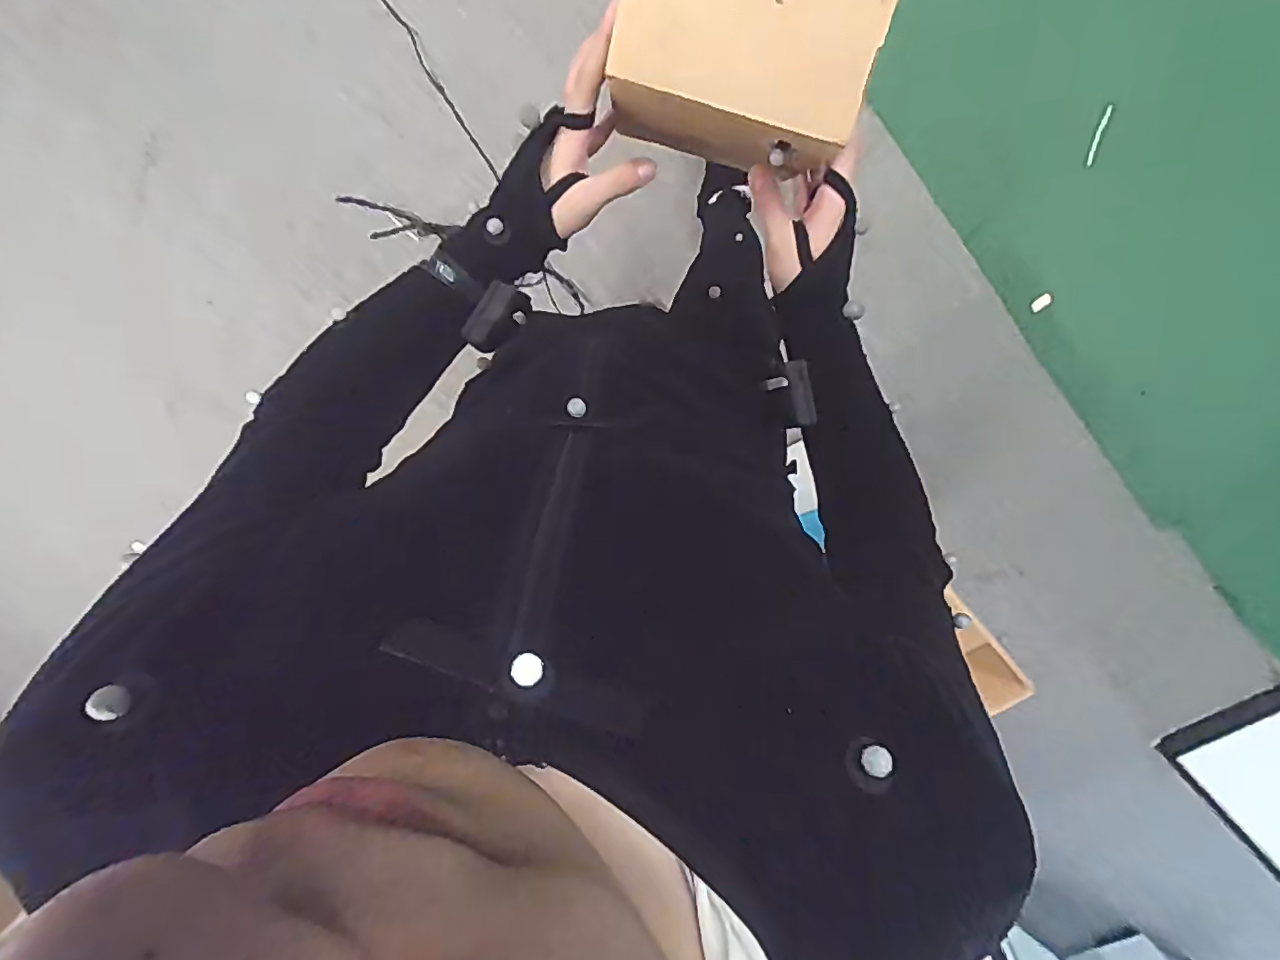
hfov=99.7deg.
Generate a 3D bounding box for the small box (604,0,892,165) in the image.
[{"bbox_3d":[0.077,-0.358,0.409,0.179,0.176,0.168,12,112,-7],"label":"small box"}]
